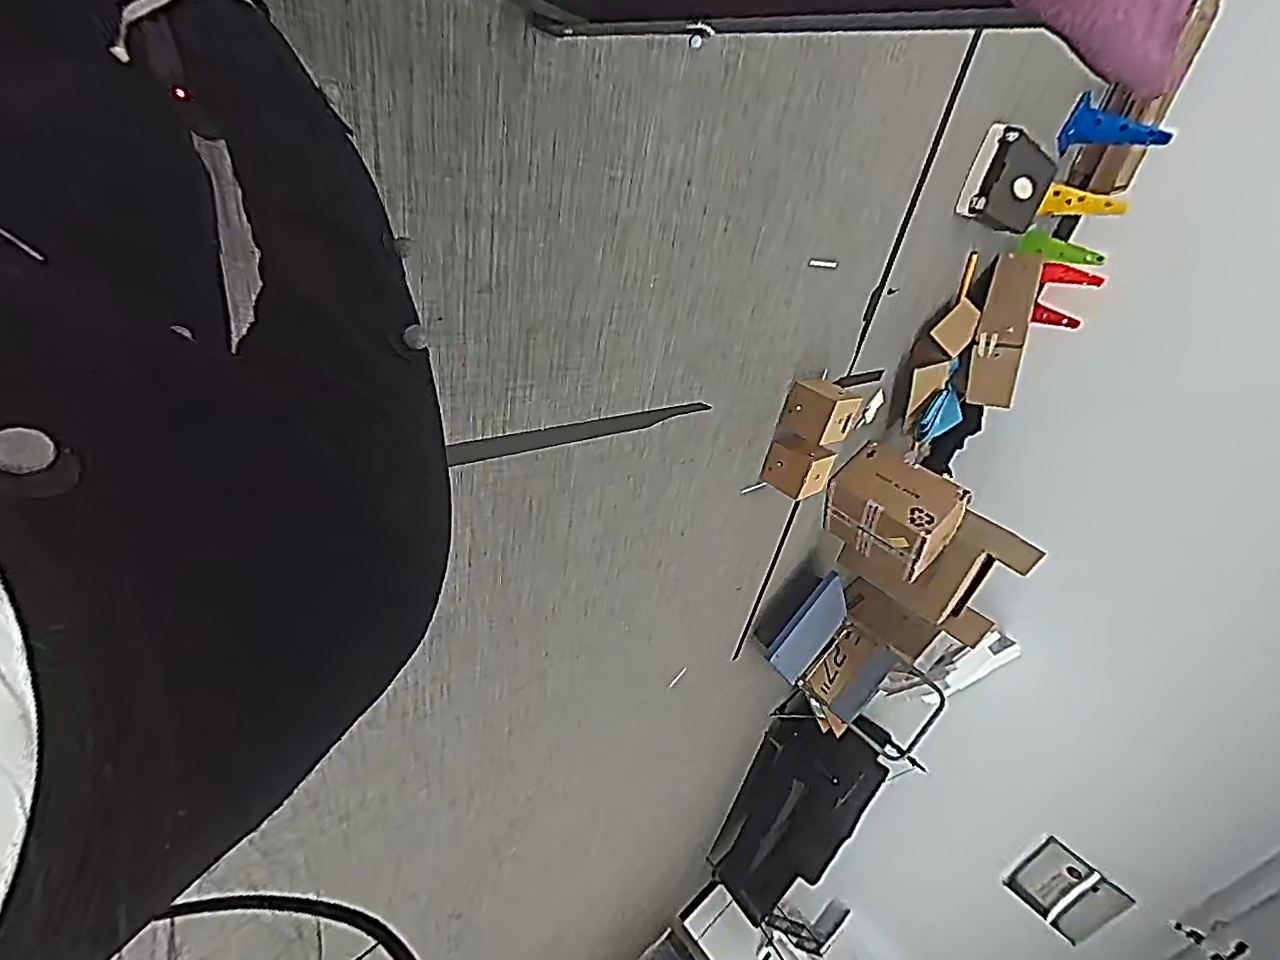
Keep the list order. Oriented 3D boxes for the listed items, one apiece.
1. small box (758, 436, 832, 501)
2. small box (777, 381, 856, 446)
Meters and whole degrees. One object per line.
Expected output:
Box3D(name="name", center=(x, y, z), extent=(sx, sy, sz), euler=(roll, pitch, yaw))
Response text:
Box3D(name="small box", center=(0.570, -0.049, 2.000), extent=(0.179, 0.176, 0.168), euler=(-16, 131, -41))
Box3D(name="small box", center=(0.611, -0.239, 1.882), extent=(0.179, 0.176, 0.168), euler=(-14, 129, -42))
